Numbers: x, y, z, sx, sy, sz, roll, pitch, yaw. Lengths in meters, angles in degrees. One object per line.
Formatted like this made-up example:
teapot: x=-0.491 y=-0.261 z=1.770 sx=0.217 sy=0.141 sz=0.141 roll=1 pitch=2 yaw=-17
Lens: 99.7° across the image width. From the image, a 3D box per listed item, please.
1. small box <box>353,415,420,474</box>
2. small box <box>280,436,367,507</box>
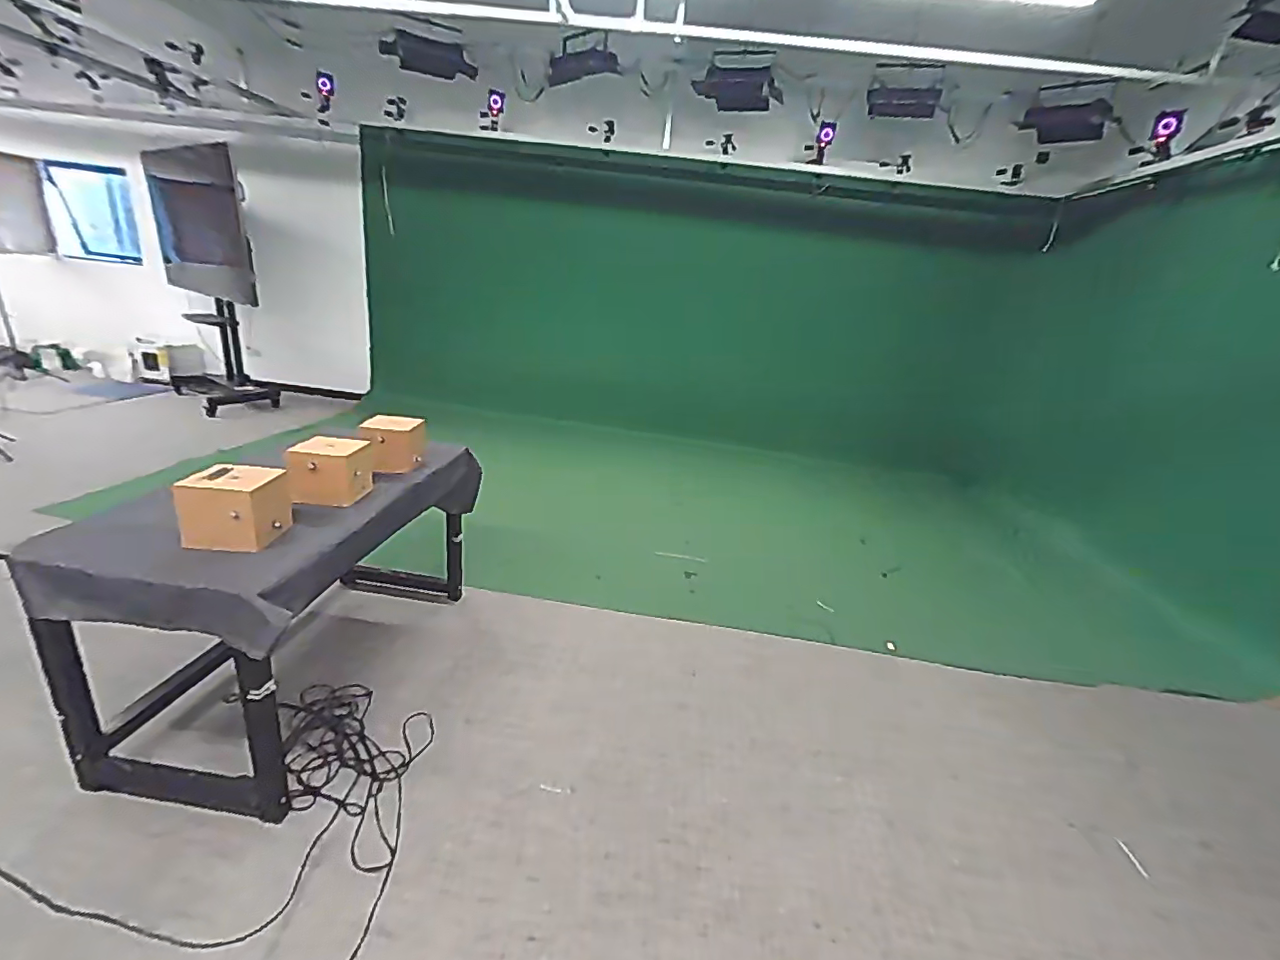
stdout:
small box: x=-0.921 y=-0.130 z=1.976 sx=0.179 sy=0.176 sz=0.168 roll=6 pitch=21 yaw=-4
small box: x=-0.967 y=-0.026 z=1.671 sx=0.179 sy=0.176 sz=0.168 roll=5 pitch=20 yaw=-2
